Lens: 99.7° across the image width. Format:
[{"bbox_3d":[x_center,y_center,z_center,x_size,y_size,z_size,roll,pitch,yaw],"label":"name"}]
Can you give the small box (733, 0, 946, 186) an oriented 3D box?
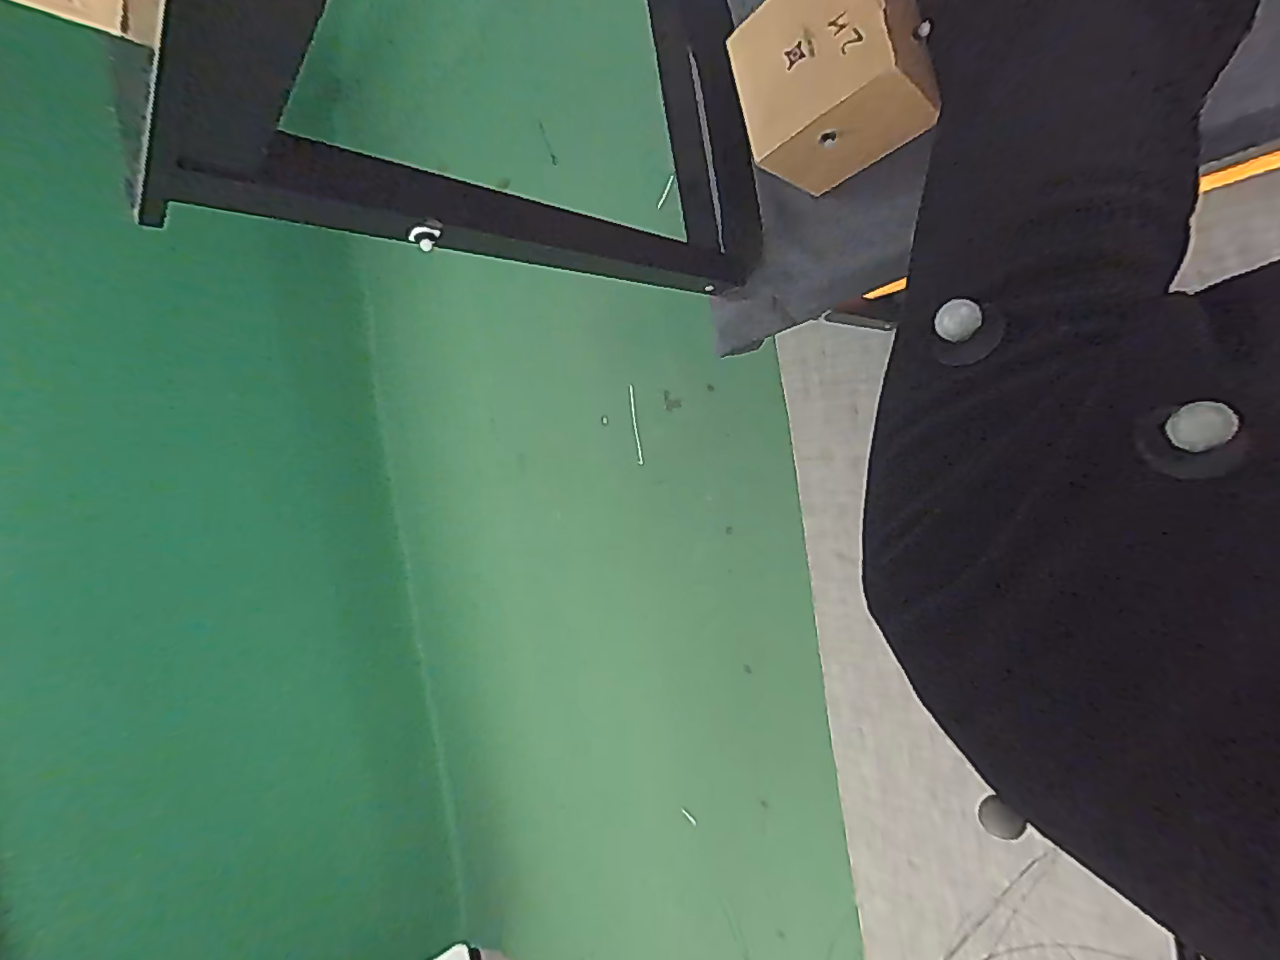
[{"bbox_3d":[0.247,-0.503,0.673,0.179,0.176,0.168,-15,88,45],"label":"small box"}]
